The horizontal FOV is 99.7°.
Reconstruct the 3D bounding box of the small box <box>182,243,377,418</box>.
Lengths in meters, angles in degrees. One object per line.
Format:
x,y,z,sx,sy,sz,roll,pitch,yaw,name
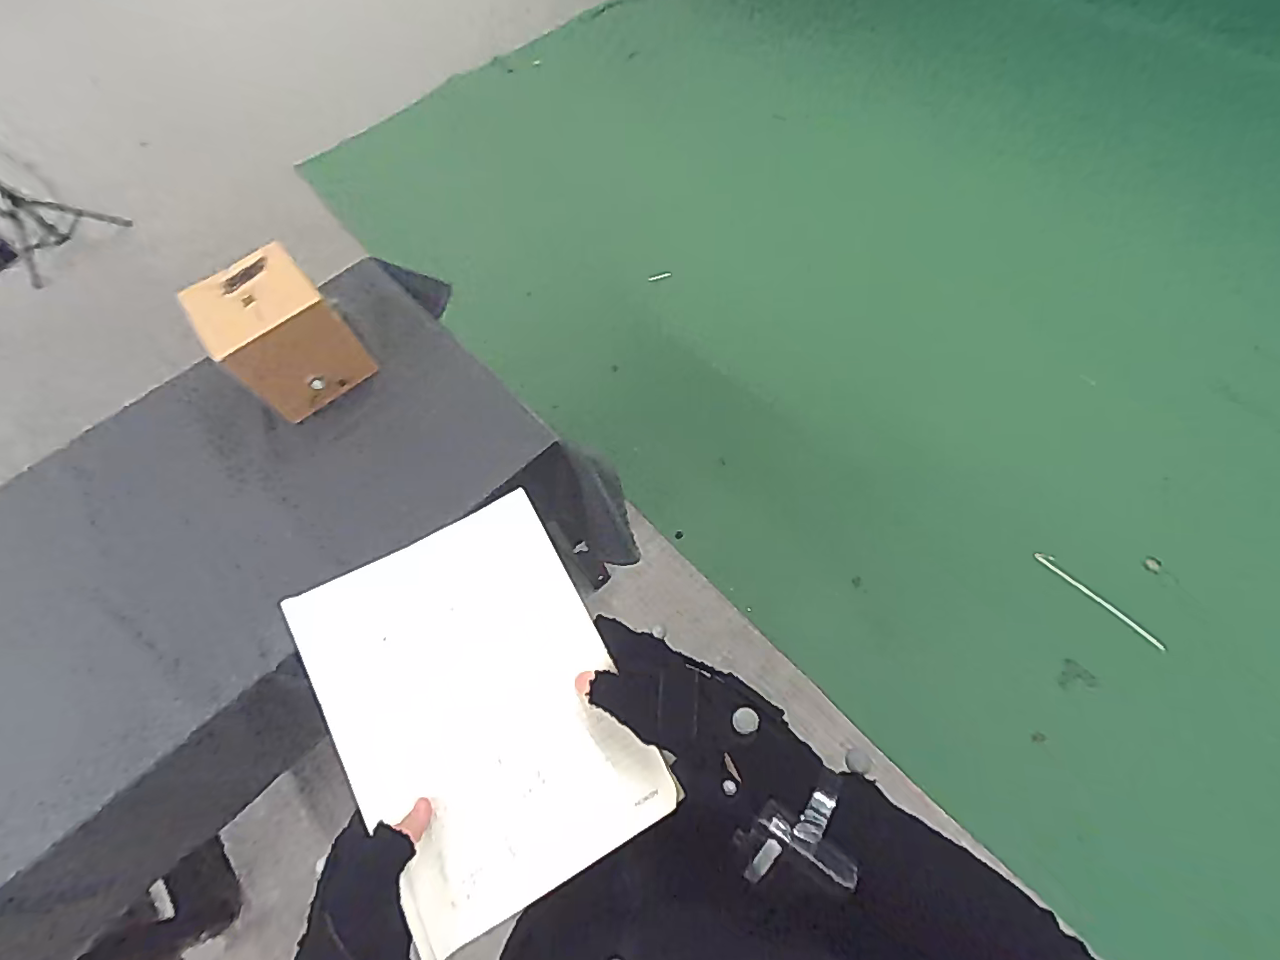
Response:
-0.567,-0.234,0.868,0.168,0.176,0.179,-38,67,-13,small box
